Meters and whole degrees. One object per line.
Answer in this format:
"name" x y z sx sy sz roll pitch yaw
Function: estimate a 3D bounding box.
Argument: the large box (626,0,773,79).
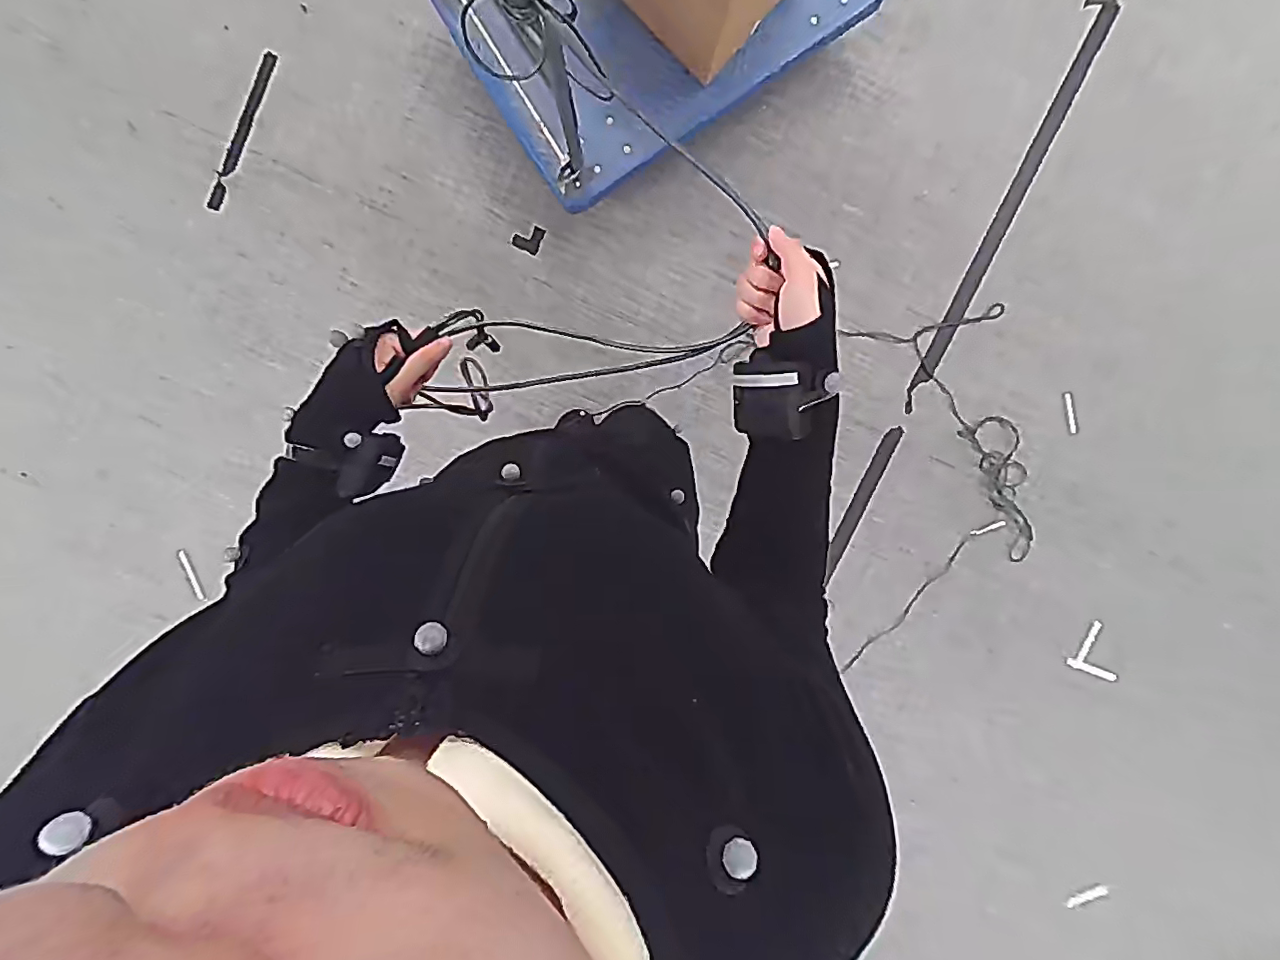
"large box" 0.104 -1.098 1.010 0.408 0.320 0.320 41 95 -9
